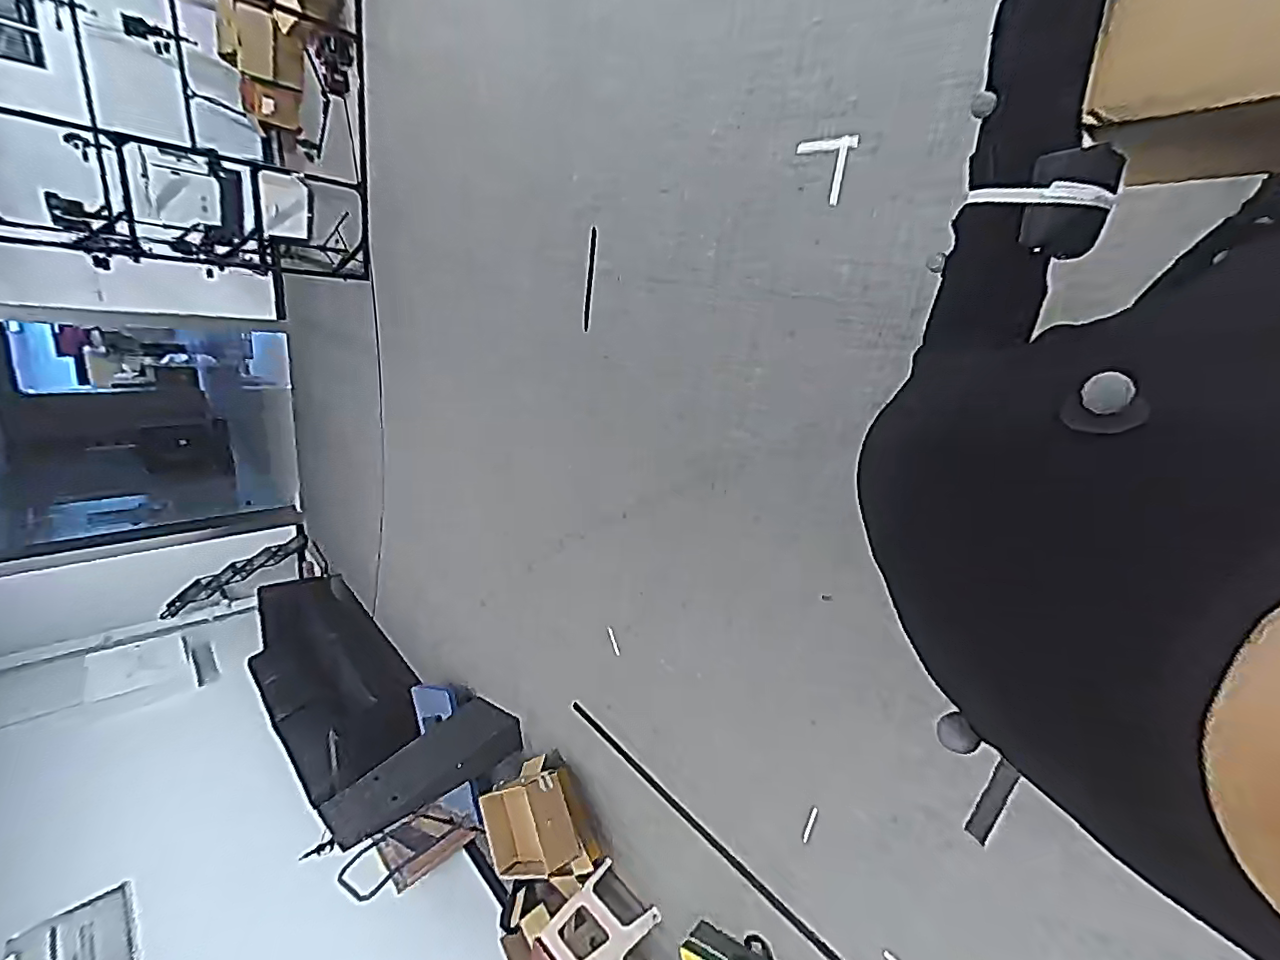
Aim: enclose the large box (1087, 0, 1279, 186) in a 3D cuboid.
[{"bbox_3d":[0.549,-0.384,0.301,0.408,0.320,0.320,16,116,41],"label":"large box"}]
